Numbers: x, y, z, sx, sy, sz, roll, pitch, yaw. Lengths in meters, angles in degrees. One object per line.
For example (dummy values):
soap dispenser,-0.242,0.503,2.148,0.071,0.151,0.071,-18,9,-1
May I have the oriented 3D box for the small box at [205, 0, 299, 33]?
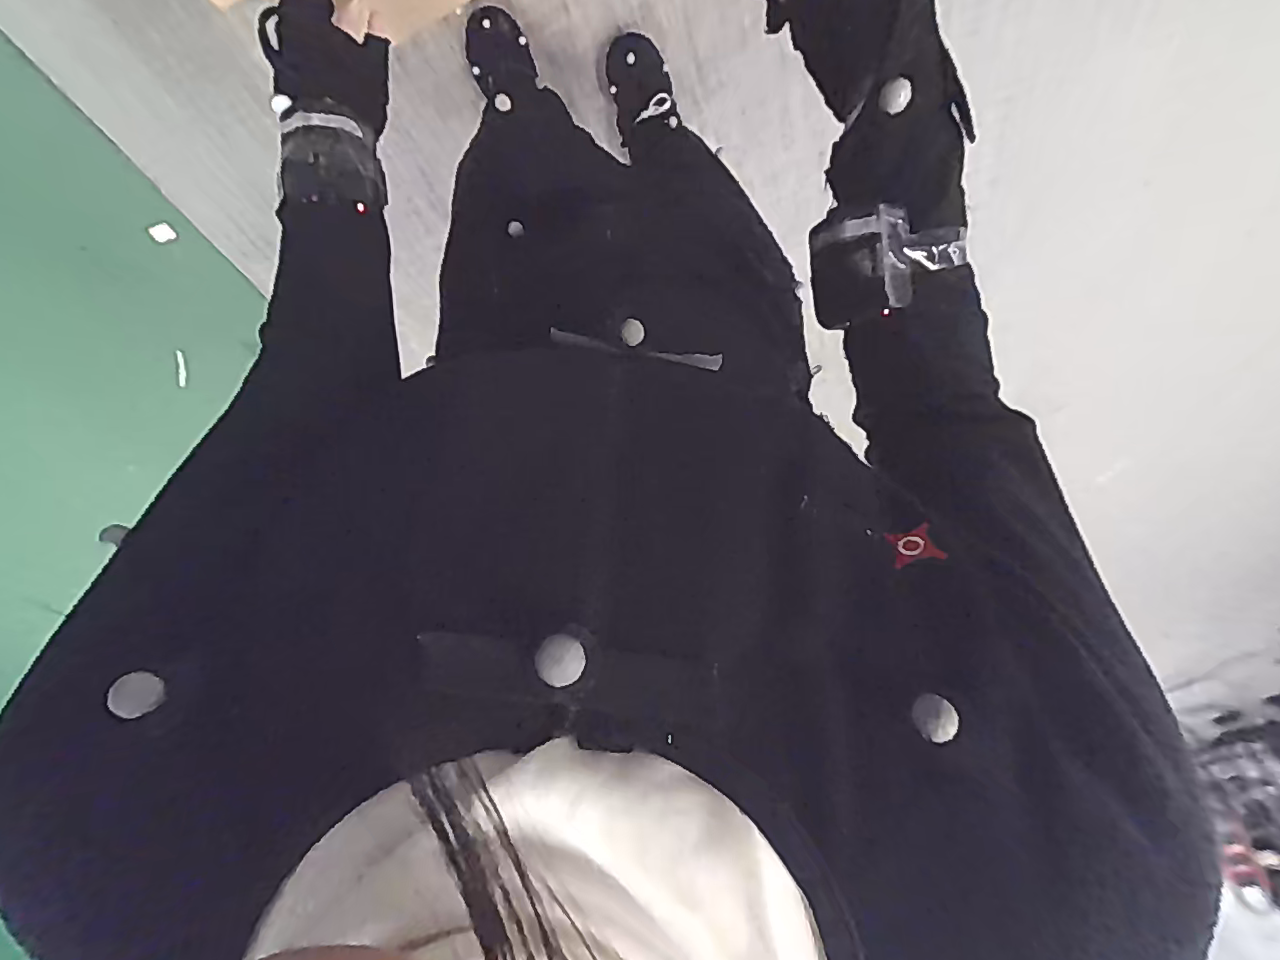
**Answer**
small box,-0.284,-0.484,0.393,0.168,0.176,0.179,-19,136,17
